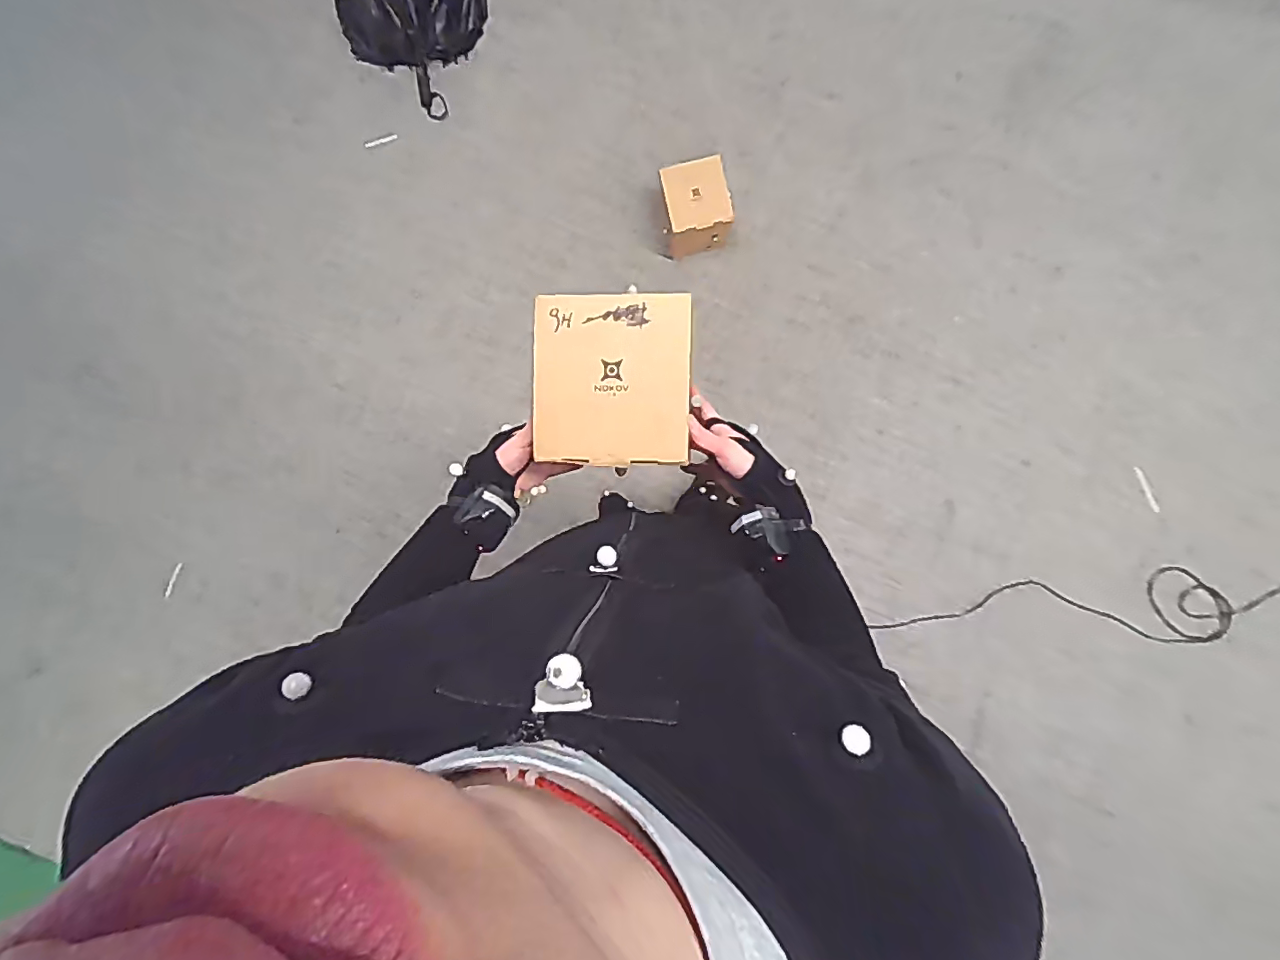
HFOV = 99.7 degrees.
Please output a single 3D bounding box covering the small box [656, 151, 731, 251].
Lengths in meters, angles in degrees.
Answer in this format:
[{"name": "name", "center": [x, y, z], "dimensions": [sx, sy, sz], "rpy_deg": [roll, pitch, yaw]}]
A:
[{"name": "small box", "center": [0.143, -0.756, 1.491], "dimensions": [0.168, 0.176, 0.179], "rpy_deg": [-14, 88, 0]}]
